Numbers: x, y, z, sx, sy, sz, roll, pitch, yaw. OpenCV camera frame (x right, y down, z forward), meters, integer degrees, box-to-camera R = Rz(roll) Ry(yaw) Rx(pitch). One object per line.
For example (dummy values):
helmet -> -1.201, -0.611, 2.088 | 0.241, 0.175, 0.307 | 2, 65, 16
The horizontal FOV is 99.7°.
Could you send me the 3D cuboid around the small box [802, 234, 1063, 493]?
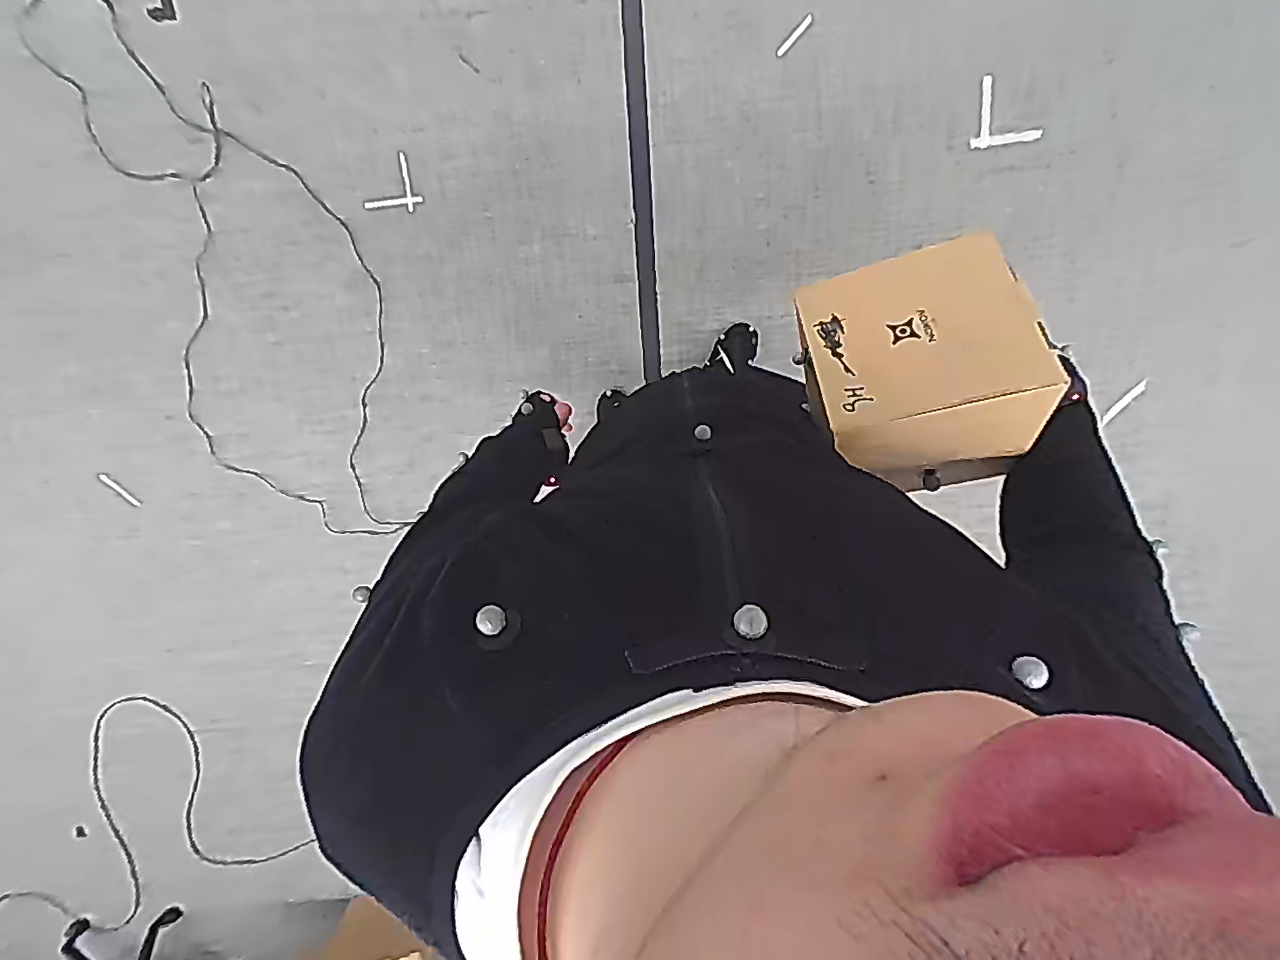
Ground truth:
small box -> 0.271, -0.103, 0.547 | 0.179, 0.176, 0.168 | -12, 62, 15
